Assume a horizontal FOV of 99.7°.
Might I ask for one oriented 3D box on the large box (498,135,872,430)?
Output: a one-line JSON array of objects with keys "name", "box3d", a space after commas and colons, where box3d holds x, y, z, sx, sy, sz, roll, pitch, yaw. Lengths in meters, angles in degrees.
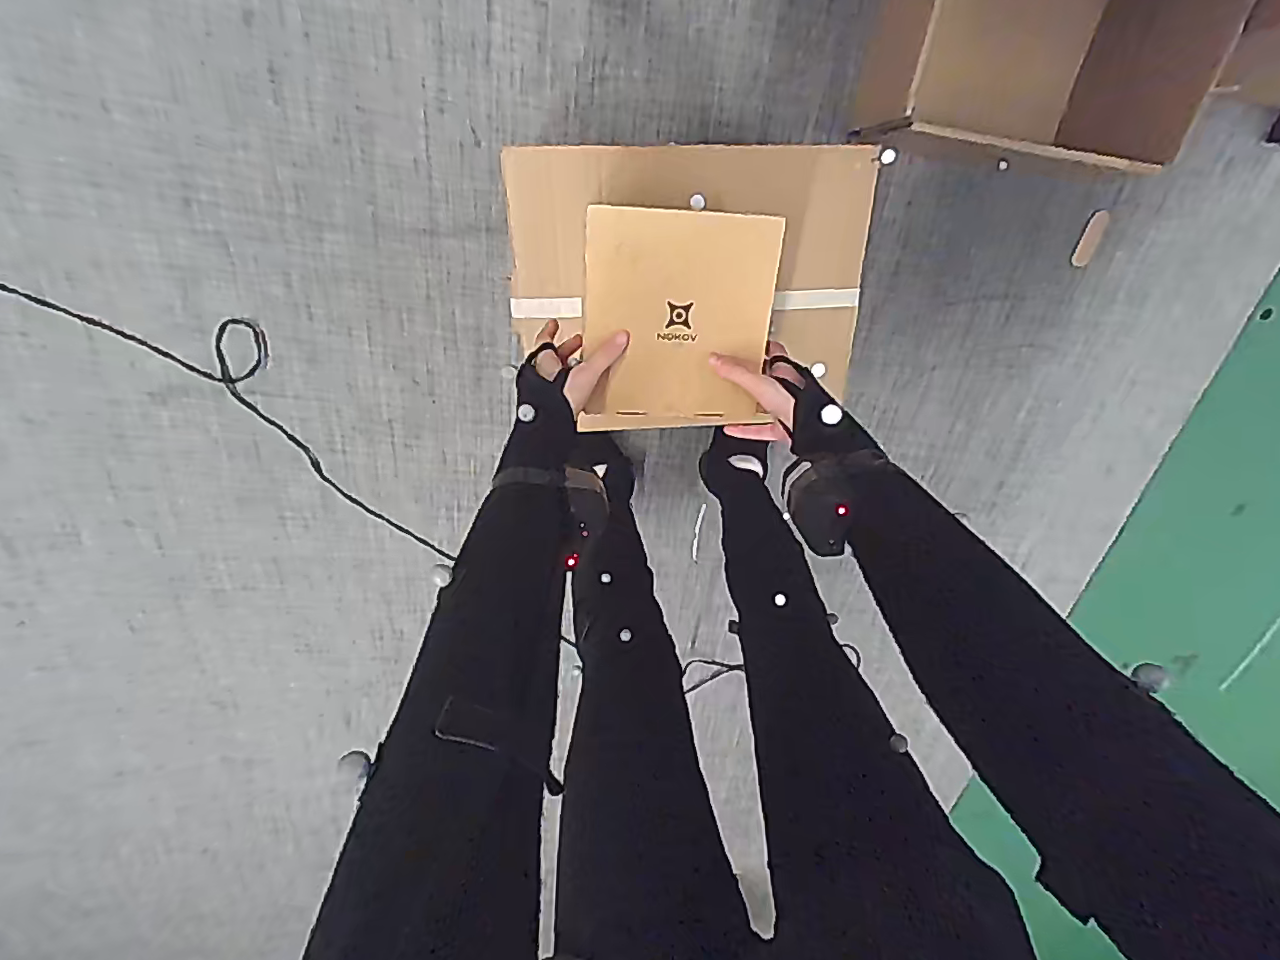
[{"name": "large box", "box3d": [0.039, -0.279, 0.758, 0.408, 0.320, 0.320, -4, 117, -5]}]
